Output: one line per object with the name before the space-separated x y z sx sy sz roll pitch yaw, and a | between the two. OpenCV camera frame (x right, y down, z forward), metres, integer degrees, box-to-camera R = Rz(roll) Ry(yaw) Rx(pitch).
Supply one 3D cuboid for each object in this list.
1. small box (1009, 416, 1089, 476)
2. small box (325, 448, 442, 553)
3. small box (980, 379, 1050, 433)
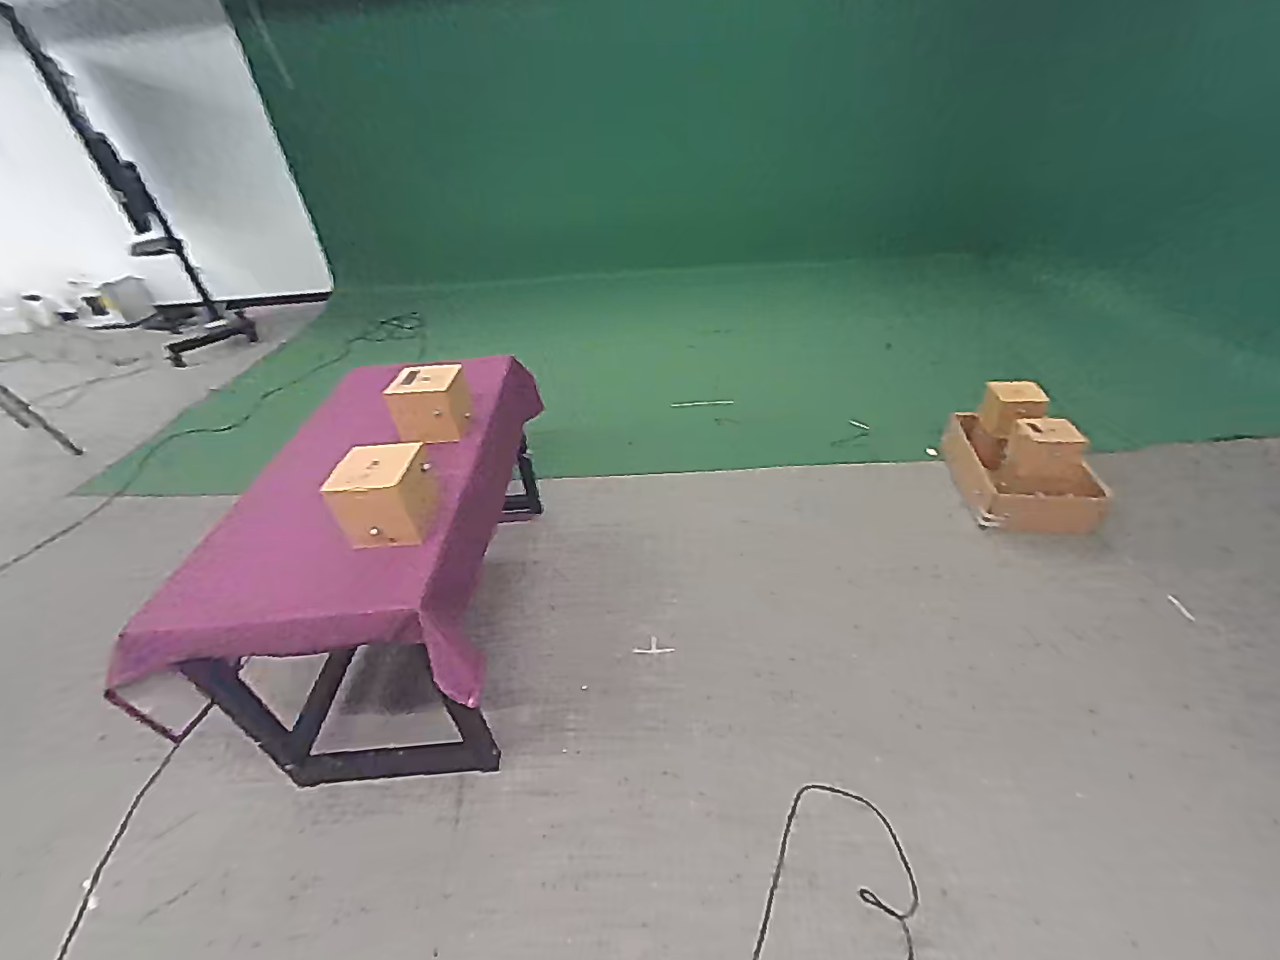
small box | 1.519 -0.127 2.026 0.179 0.176 0.168 0 36 9
small box | -0.577 0.047 1.247 0.168 0.176 0.179 -5 36 4
small box | 1.568 -0.309 2.269 0.179 0.176 0.168 0 38 11
